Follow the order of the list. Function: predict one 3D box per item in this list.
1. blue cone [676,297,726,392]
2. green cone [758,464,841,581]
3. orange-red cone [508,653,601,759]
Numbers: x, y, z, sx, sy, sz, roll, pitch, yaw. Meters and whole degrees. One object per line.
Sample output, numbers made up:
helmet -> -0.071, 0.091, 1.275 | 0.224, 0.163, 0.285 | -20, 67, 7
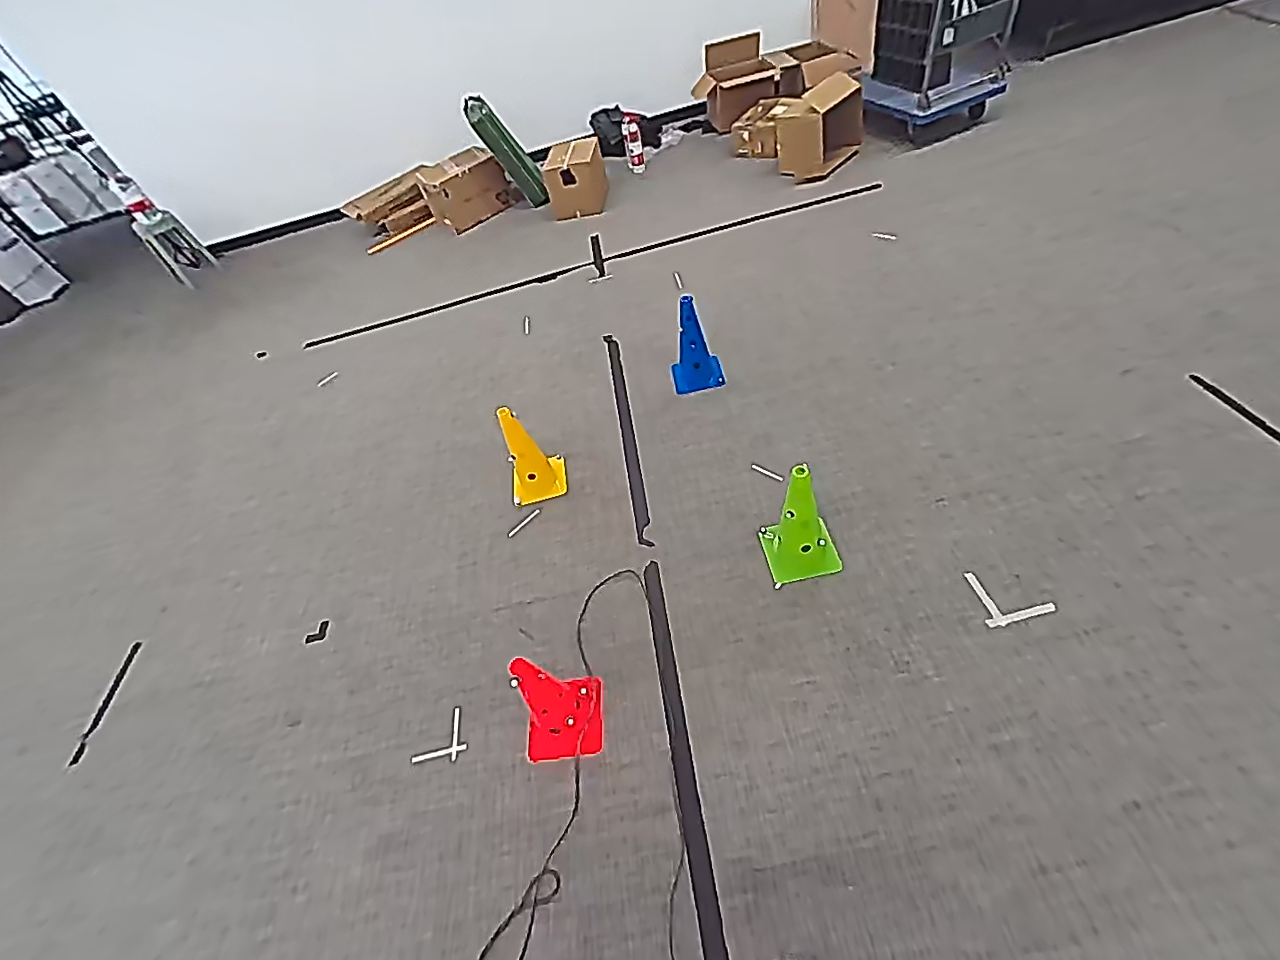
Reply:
blue cone -> 0.216, -0.538, 2.112 | 0.192, 0.380, 0.193 | -10, 48, 6
green cone -> 0.438, 0.094, 1.482 | 0.202, 0.368, 0.200 | -12, 48, 3
orange-red cone -> -0.237, 0.513, 1.306 | 0.199, 0.360, 0.198 | -11, 47, 8
